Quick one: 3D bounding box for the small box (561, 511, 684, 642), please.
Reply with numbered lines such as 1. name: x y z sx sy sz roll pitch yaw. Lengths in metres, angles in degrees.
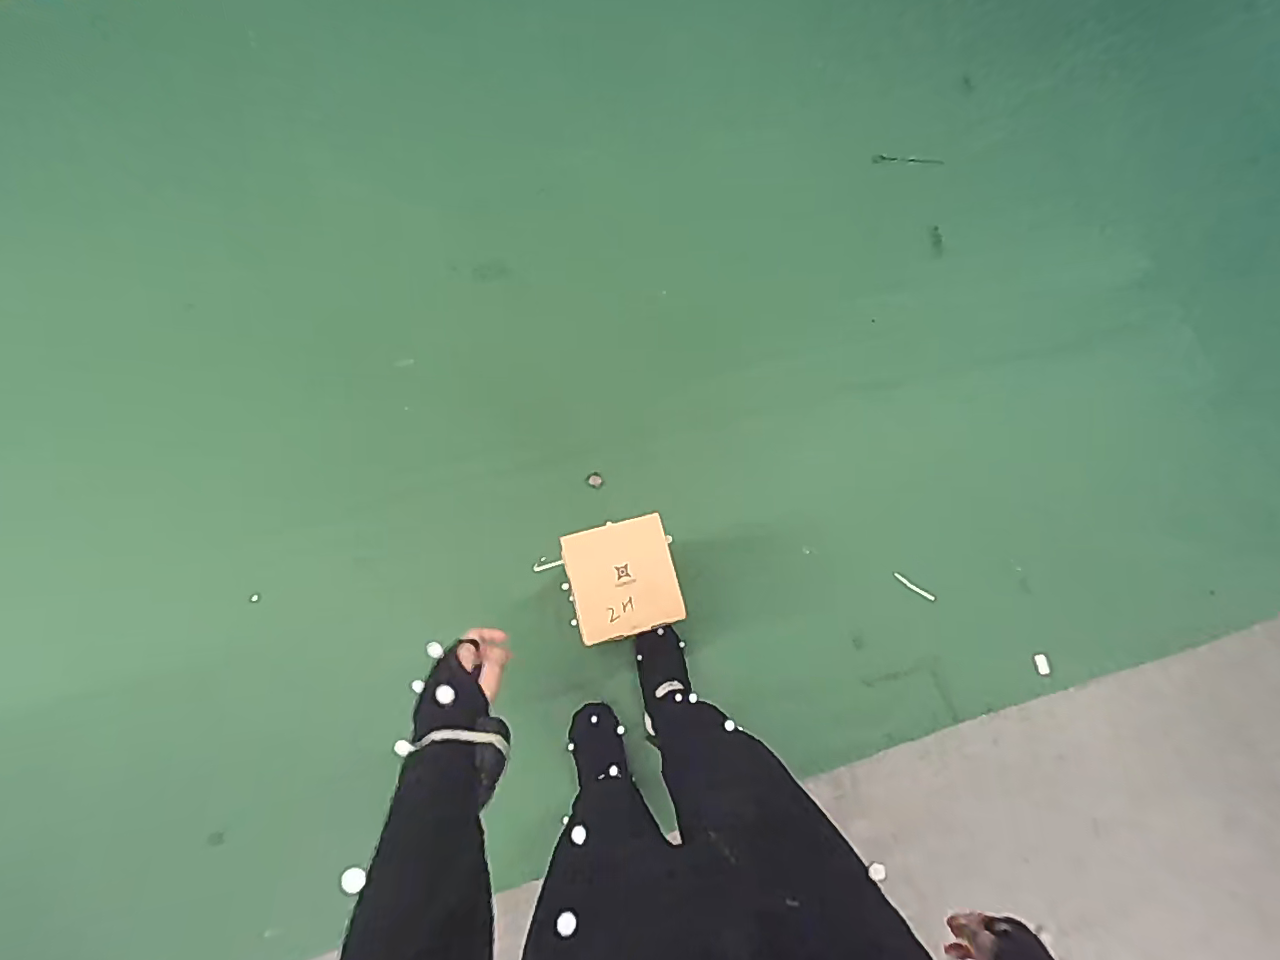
1. small box: -0.037 0.166 0.919 0.168 0.176 0.179 -12 79 -9
